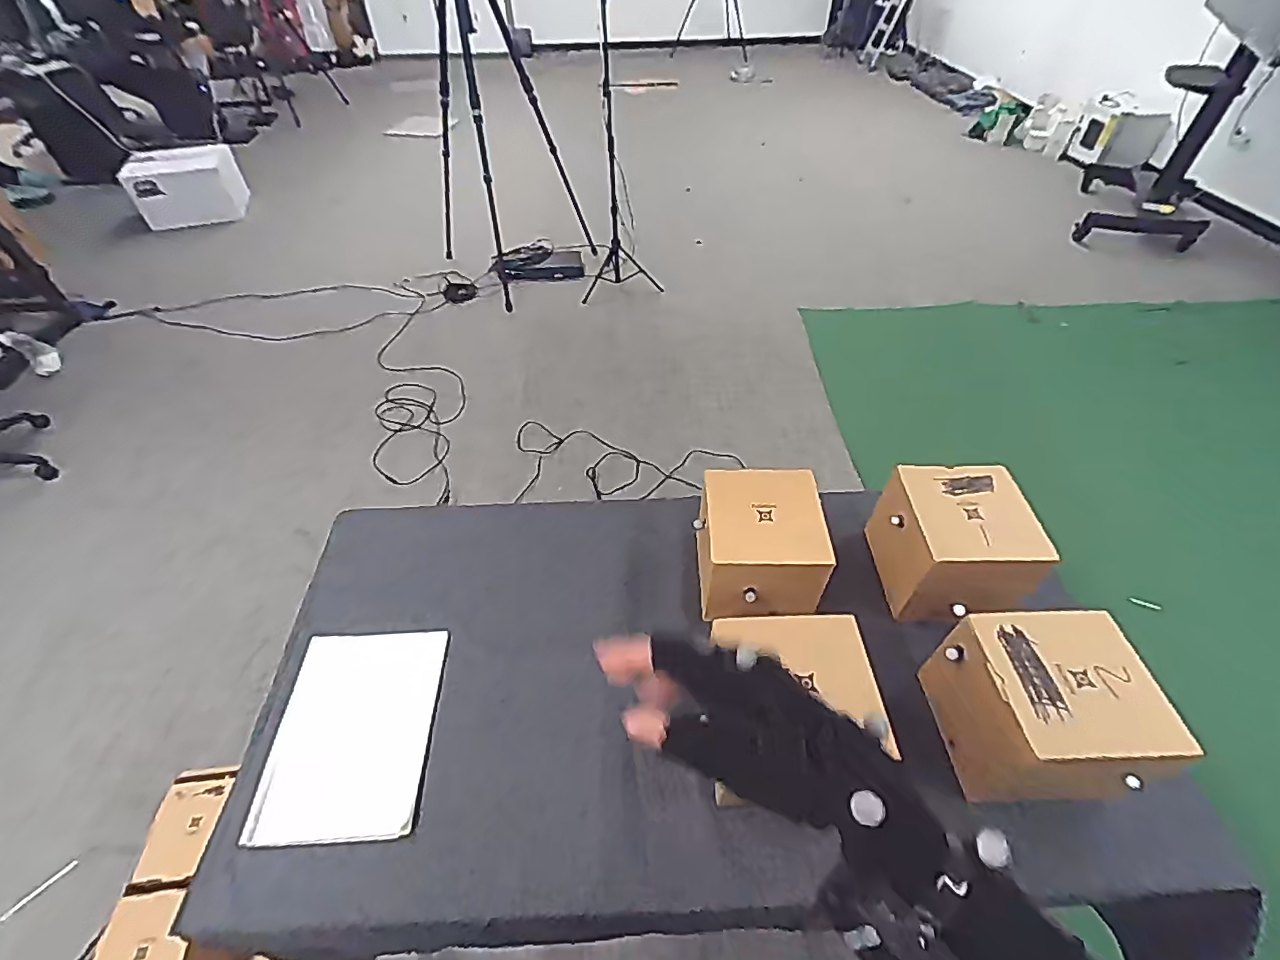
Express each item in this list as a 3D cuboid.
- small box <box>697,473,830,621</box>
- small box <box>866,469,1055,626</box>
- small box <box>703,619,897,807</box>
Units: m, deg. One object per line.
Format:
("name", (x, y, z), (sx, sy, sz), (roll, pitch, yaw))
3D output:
("small box", (0.177, 0.109, 0.830), (0.168, 0.176, 0.179), (0, 47, 1))
("small box", (0.466, 0.103, 0.826), (0.168, 0.176, 0.179), (0, 48, 2))
("small box", (0.176, 0.286, 0.660), (0.179, 0.176, 0.168), (-2, 46, 0))
